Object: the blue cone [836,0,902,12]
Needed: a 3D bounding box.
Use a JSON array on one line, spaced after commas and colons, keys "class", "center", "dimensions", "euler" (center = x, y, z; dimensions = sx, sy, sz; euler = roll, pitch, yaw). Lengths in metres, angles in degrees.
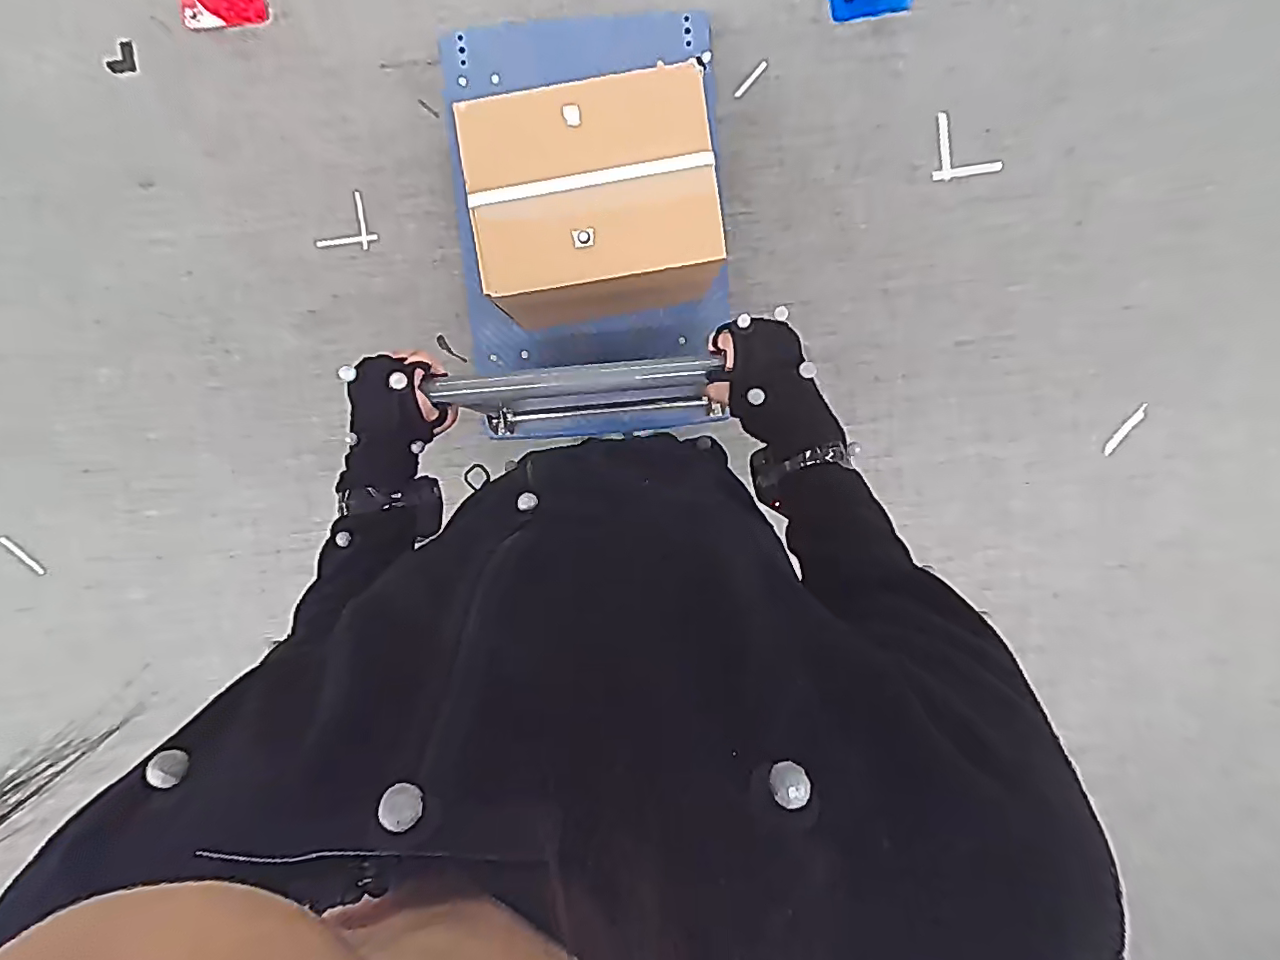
[{"class": "blue cone", "center": [0.553, -1.218, 1.135], "dimensions": [0.193, 0.380, 0.192], "euler": [-10, 95, 0]}]
